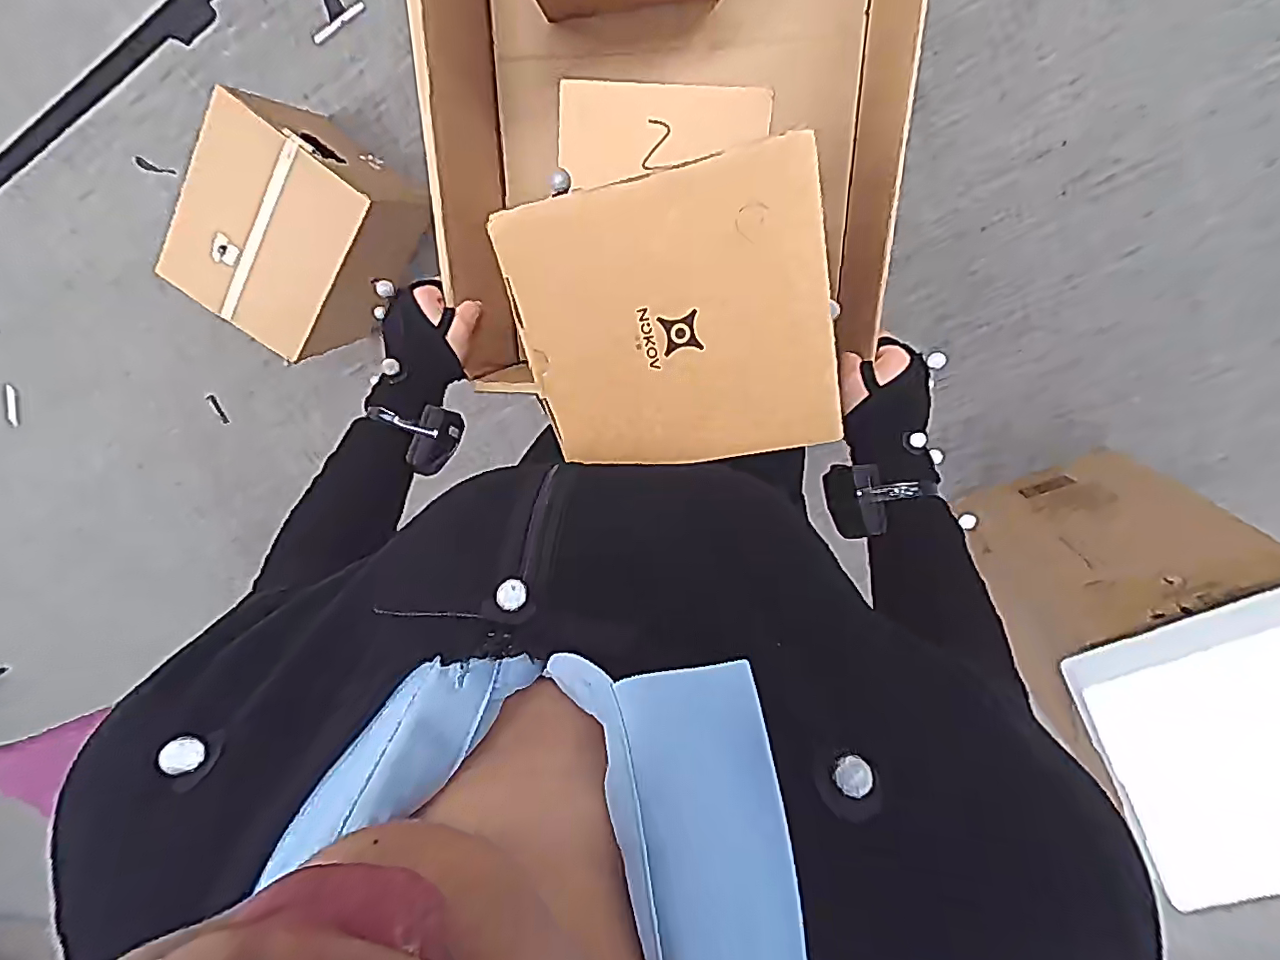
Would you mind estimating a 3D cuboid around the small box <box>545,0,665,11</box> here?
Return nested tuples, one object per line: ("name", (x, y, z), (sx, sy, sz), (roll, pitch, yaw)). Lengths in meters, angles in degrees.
("small box", (-0.018, -0.506, 0.417), (0.179, 0.176, 0.168), (-1, 110, 7))

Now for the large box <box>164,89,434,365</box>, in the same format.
("large box", (-0.728, -0.538, 1.194), (0.320, 0.320, 0.408), (36, 113, -11))
